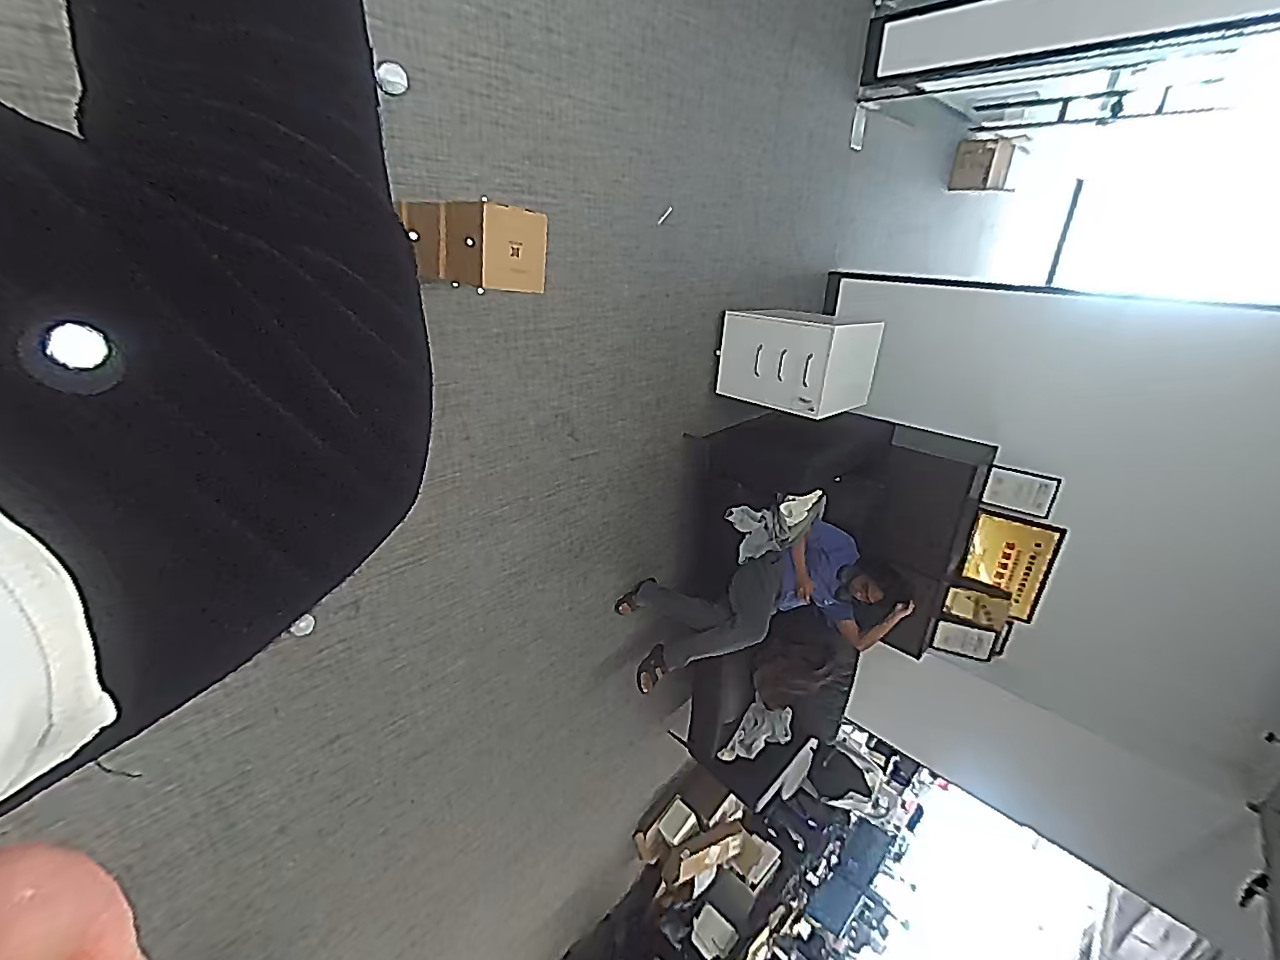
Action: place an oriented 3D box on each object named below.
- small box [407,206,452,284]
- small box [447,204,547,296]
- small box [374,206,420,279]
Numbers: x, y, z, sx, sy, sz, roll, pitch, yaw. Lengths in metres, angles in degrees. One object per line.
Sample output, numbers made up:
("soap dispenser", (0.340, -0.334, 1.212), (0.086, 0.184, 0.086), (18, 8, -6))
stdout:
("small box", (-0.457, -0.576, 1.344), (0.179, 0.176, 0.168), (-12, 117, -45))
("small box", (-0.334, -0.529, 1.249), (0.168, 0.176, 0.179), (-14, 120, -44))
("small box", (-0.582, -0.626, 1.438), (0.179, 0.176, 0.168), (-14, 119, -46))
